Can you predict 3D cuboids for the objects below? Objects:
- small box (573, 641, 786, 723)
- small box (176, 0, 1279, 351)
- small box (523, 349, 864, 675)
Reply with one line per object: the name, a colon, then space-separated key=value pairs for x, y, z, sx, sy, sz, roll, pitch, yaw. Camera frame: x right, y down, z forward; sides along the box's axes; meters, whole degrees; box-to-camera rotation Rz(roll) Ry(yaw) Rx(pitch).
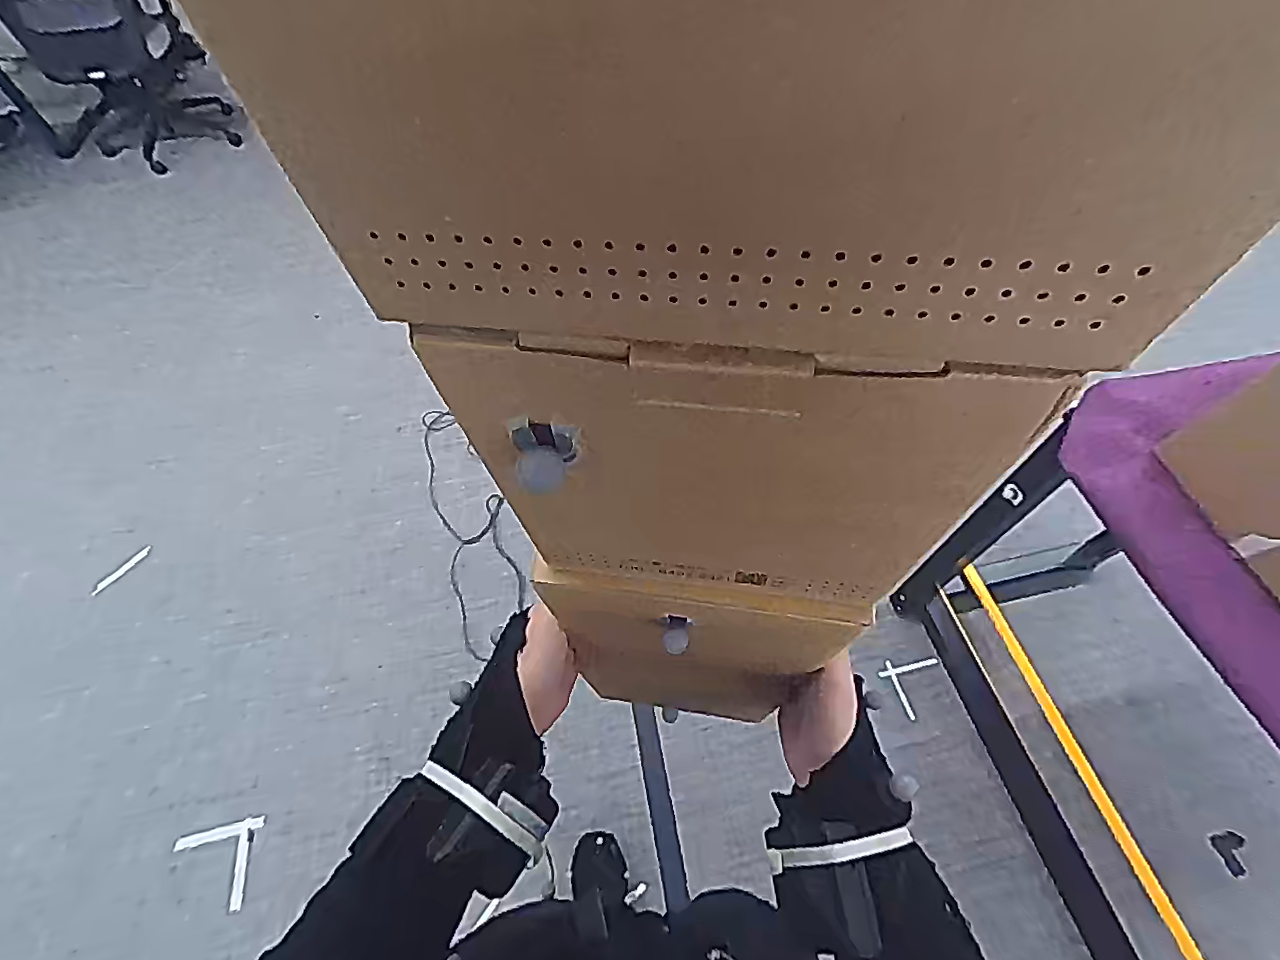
small box: x=0.045 y=0.119 z=0.517 sx=0.168 sy=0.176 sz=0.179 roll=6 pitch=62 yaw=8
small box: x=0.021 y=-0.142 z=0.100 sx=0.179 sy=0.176 sz=0.168 roll=6 pitch=60 yaw=8
small box: x=0.041 y=0.032 z=0.380 sx=0.179 sy=0.176 sz=0.168 roll=5 pitch=61 yaw=8
